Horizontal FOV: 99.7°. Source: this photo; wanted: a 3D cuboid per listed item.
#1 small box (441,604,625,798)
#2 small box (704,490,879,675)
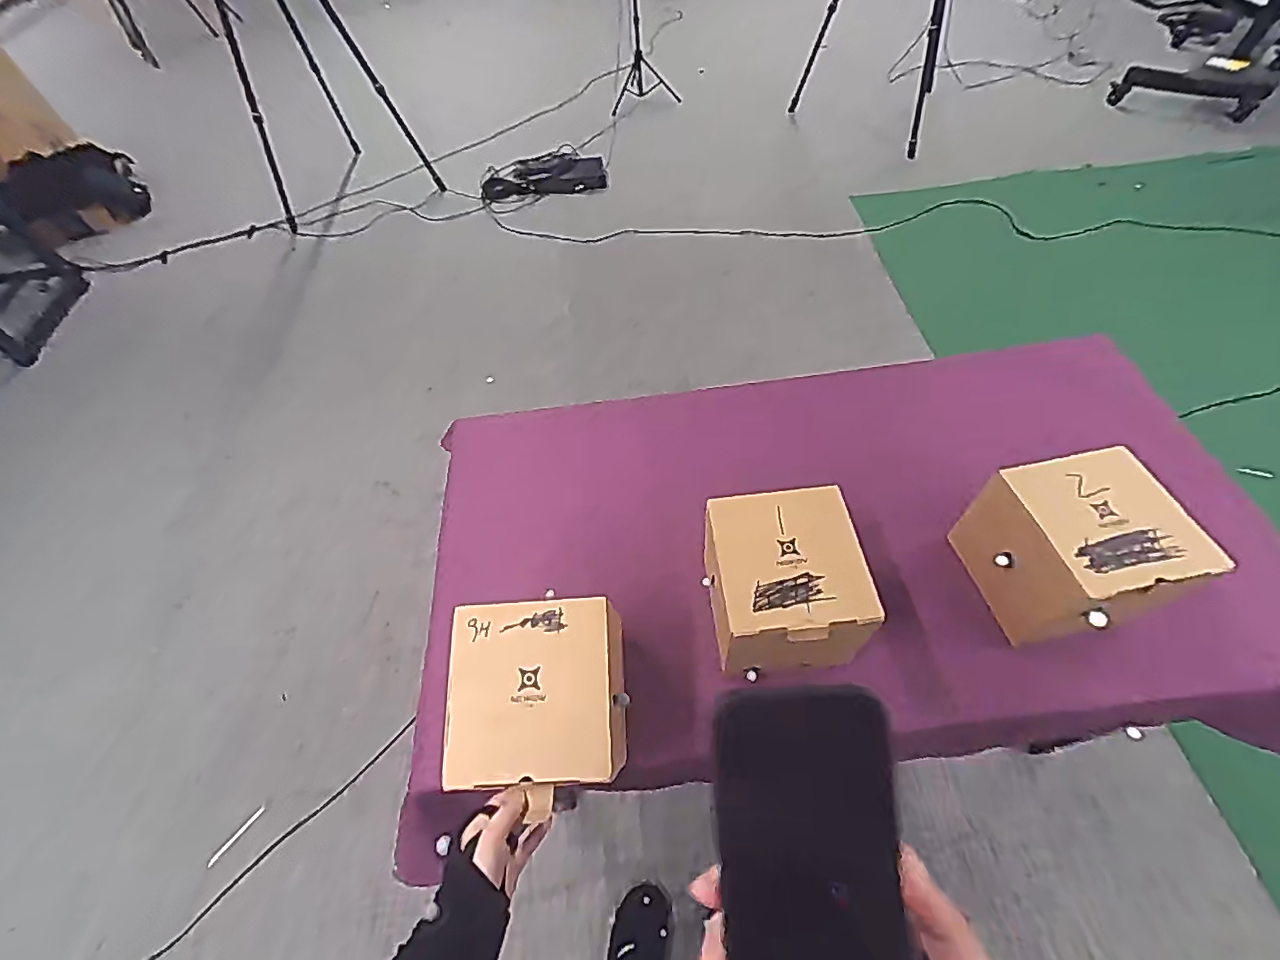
[{"bbox_3d":[-0.108,0.244,0.614,0.168,0.176,0.179,-4,68,2],"label":"small box"},{"bbox_3d":[0.175,0.137,0.685,0.168,0.176,0.179,-7,54,1],"label":"small box"}]
